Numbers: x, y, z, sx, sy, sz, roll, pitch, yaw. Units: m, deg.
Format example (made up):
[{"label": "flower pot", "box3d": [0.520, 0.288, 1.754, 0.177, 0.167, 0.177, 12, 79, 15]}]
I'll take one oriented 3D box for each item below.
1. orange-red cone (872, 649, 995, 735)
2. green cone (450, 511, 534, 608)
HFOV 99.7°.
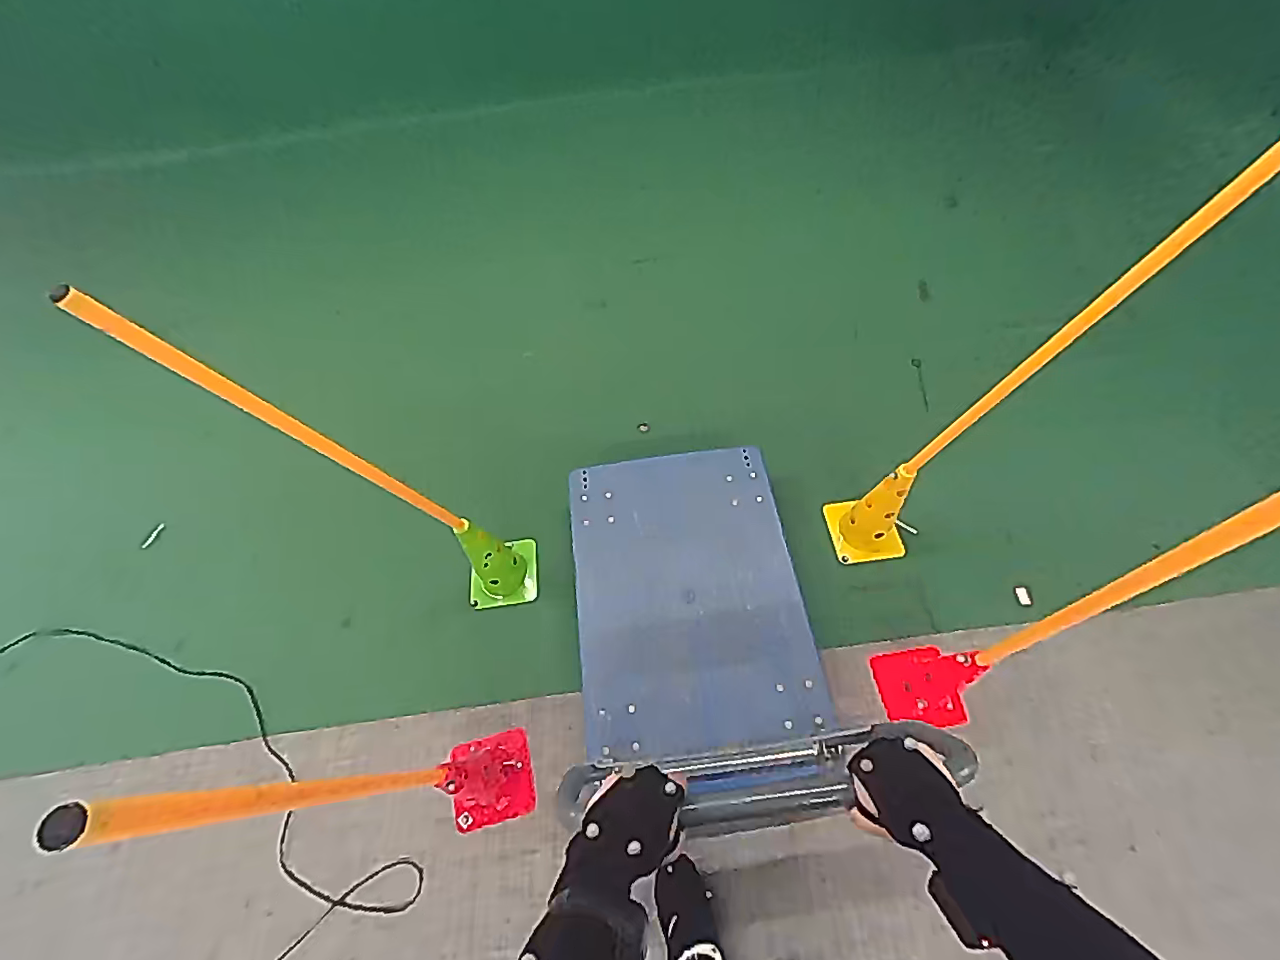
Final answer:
[{"label": "orange-red cone", "box3d": [0.709, 0.454, 1.246, 0.198, 0.360, 0.199, -8, 58, -1]}, {"label": "green cone", "box3d": [-0.429, 0.188, 1.472, 0.200, 0.368, 0.202, -8, 59, 0]}]
